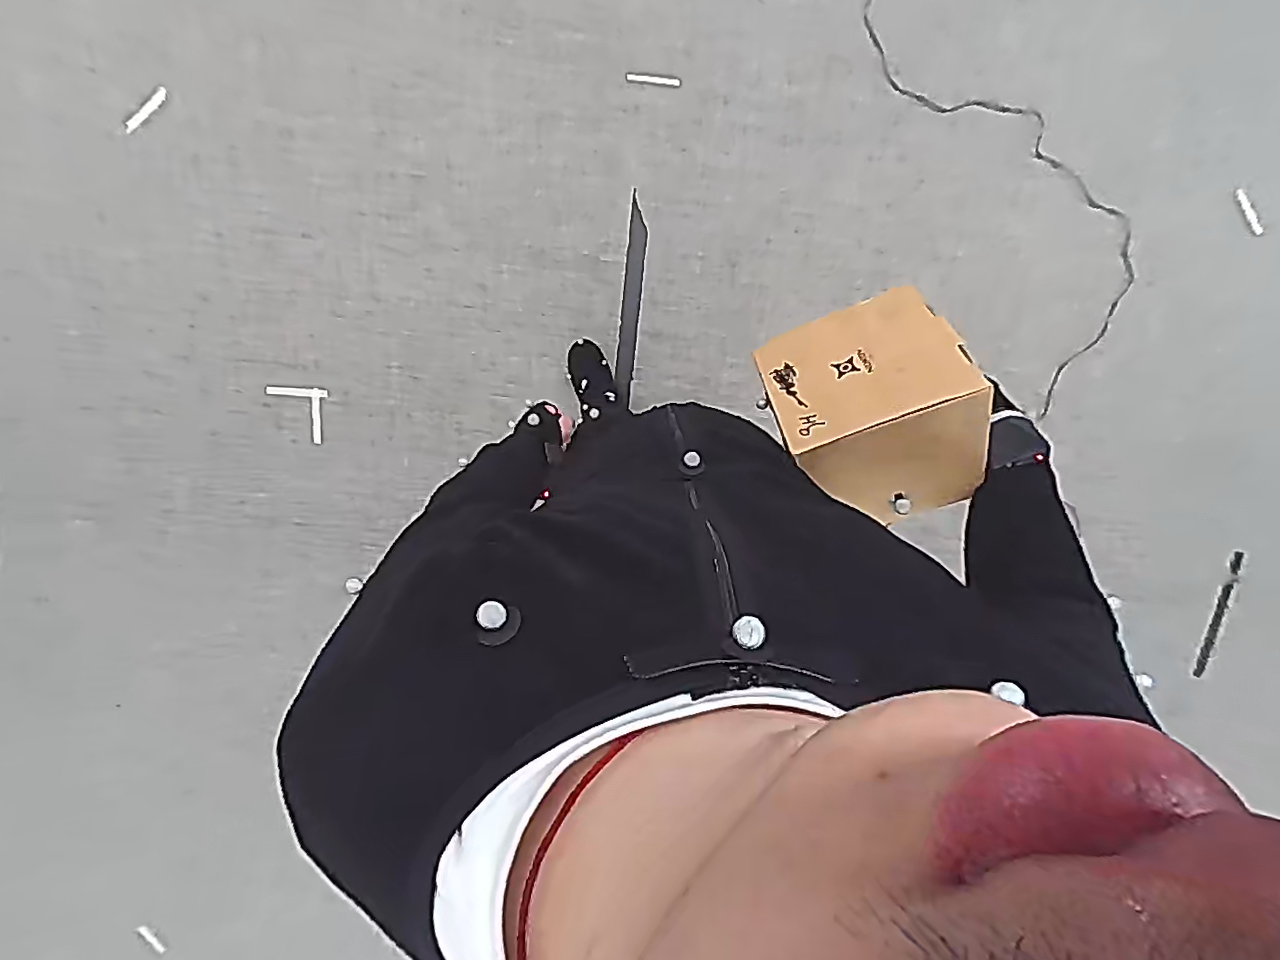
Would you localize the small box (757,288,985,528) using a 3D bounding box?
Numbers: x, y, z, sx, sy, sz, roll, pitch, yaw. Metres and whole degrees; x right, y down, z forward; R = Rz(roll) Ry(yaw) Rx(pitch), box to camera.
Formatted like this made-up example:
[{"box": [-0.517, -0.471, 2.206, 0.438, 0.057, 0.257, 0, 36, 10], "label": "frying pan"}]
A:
[{"box": [0.250, -0.072, 0.605, 0.179, 0.168, 0.176, -20, 137, 14], "label": "small box"}]
